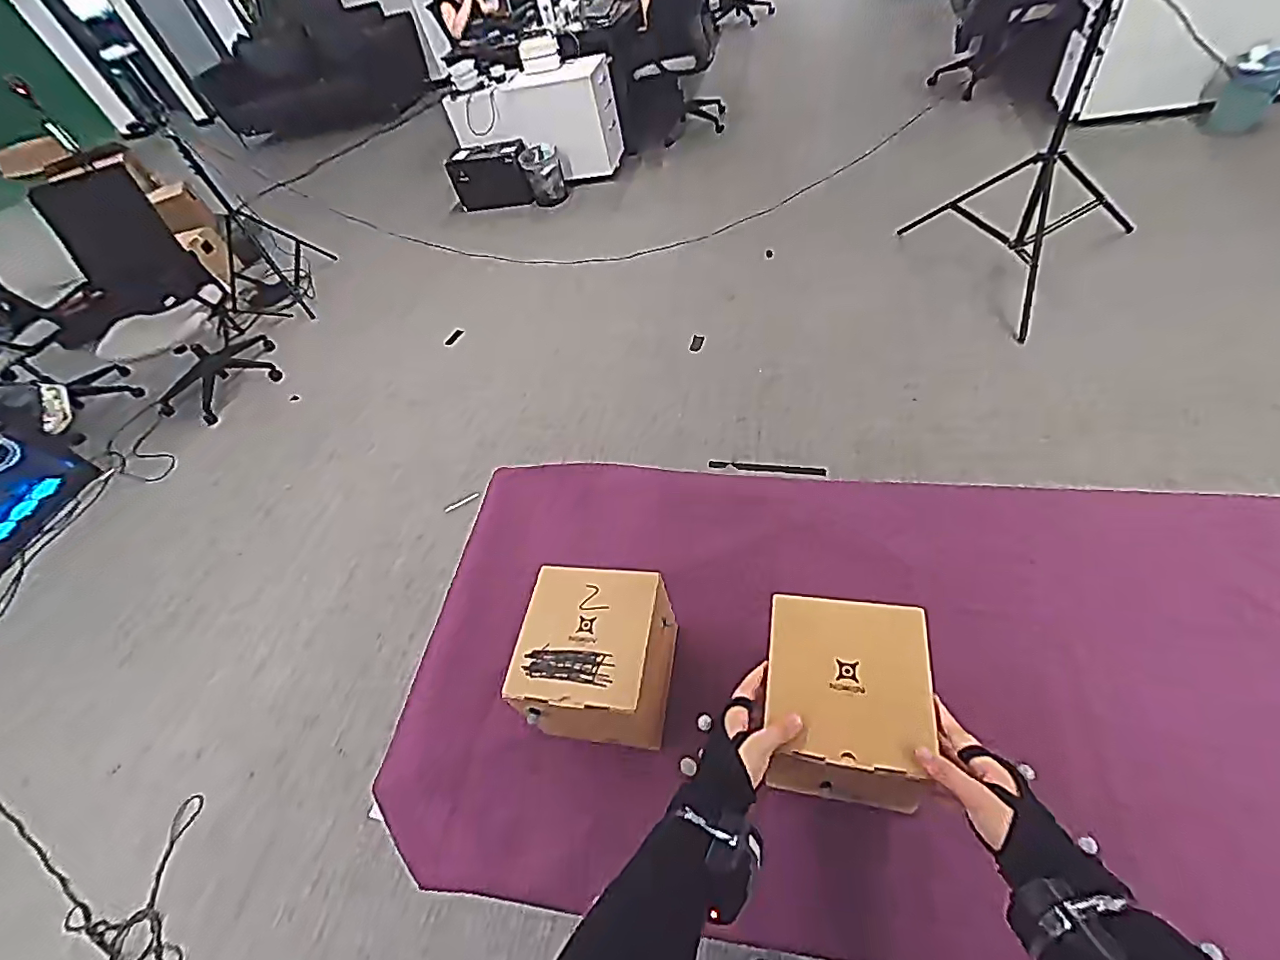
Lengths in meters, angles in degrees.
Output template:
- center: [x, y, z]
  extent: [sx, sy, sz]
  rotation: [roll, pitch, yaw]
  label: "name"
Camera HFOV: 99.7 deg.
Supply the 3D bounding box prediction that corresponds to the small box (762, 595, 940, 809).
- center: [0.233, 0.258, 0.631]
  extent: [0.168, 0.176, 0.179]
  rotation: [3, 52, 16]
  label: "small box"
